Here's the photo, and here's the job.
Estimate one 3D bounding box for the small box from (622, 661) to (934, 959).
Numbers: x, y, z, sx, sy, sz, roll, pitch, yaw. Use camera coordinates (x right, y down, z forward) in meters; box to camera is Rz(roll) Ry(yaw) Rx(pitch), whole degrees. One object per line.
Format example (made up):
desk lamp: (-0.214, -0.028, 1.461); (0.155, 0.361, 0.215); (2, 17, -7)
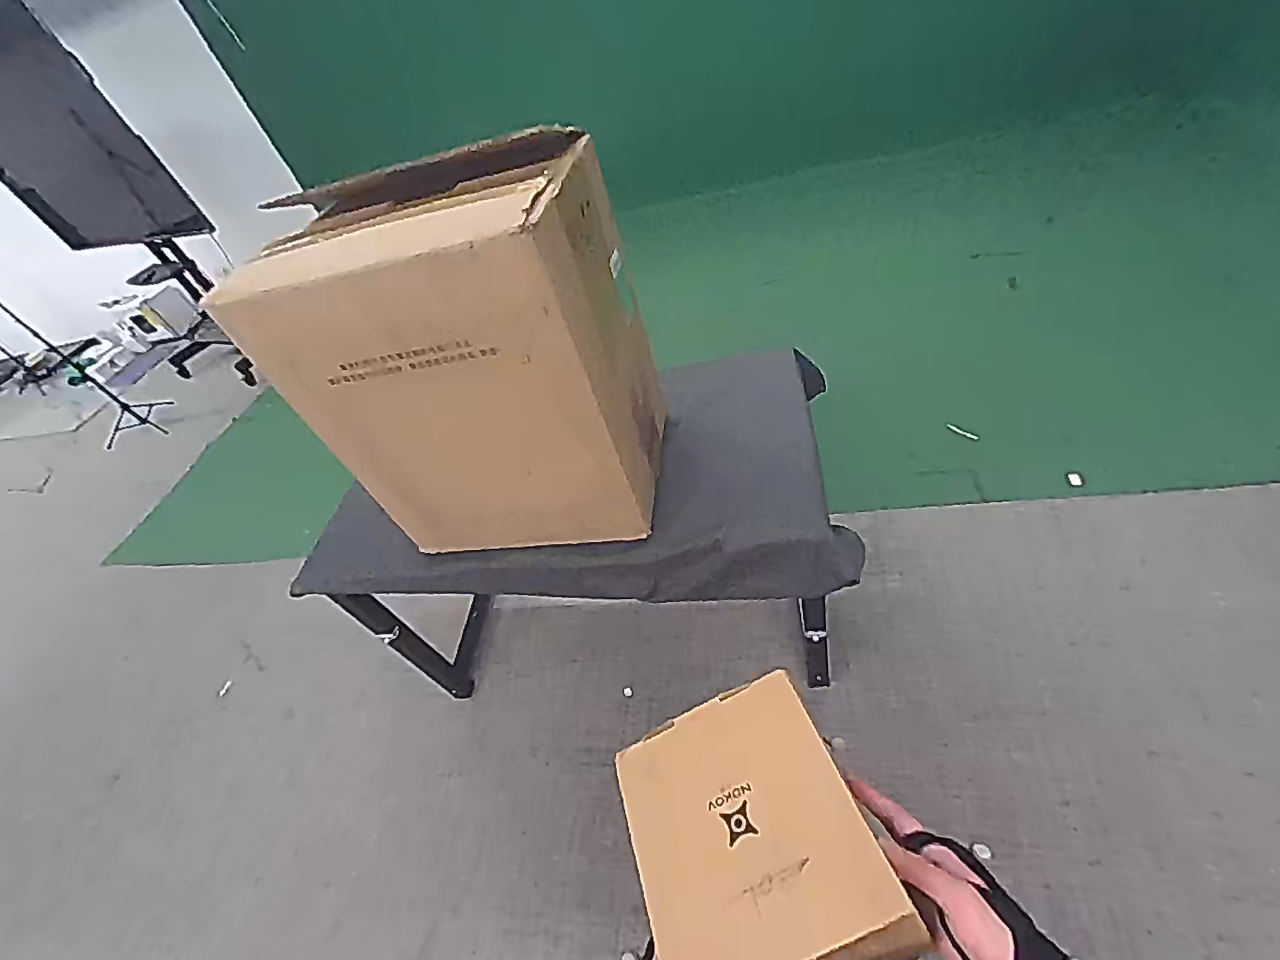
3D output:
small box: (0.108, 0.291, 0.443); (0.168, 0.176, 0.179); (-30, 38, 3)
